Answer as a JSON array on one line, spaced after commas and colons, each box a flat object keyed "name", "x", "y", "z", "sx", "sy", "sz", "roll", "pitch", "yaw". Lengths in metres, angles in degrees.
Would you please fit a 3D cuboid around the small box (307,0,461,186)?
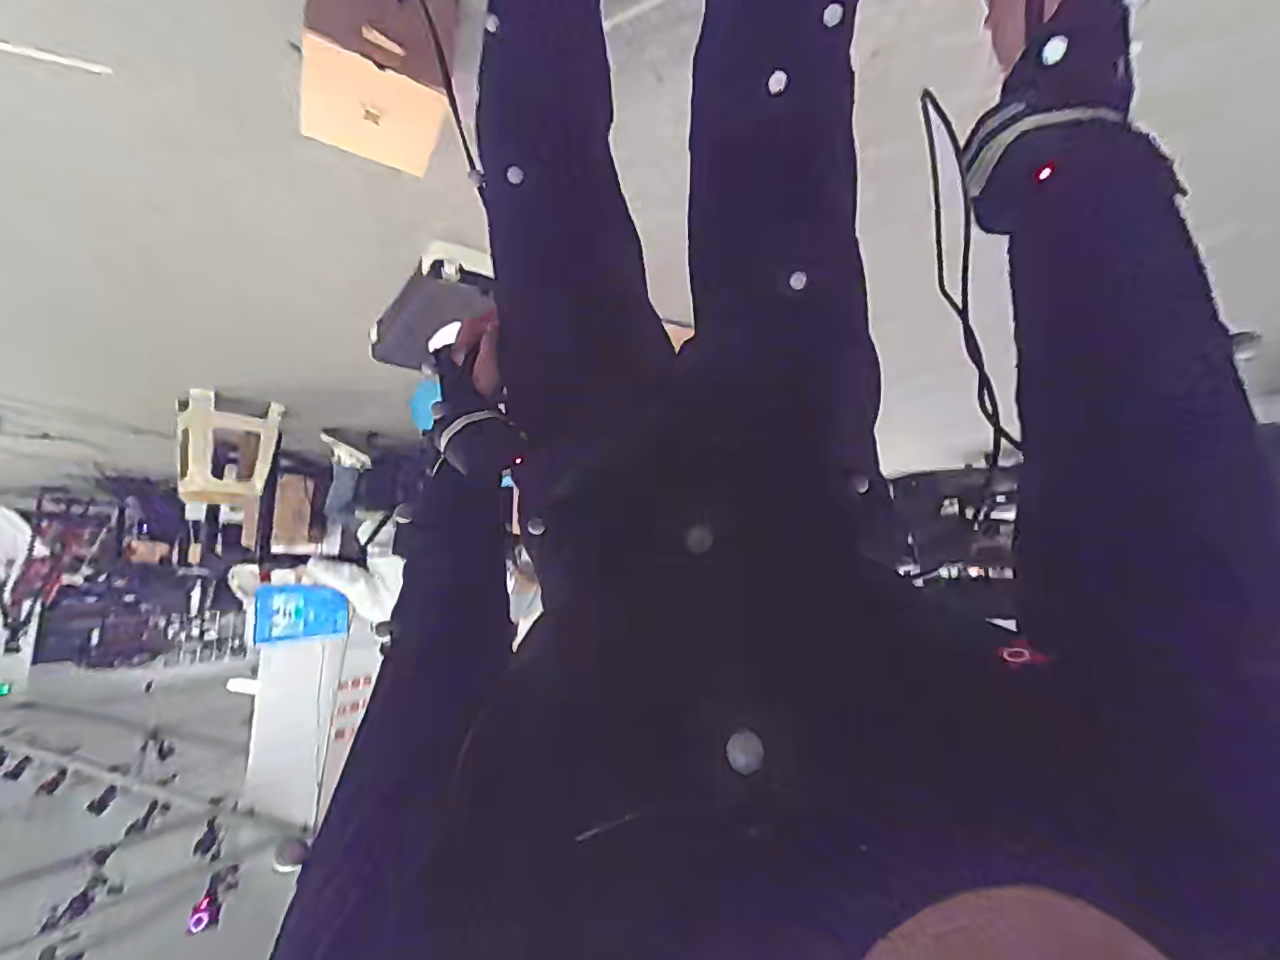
[{"name": "small box", "x": -0.351, "y": -0.559, "z": 0.745, "sx": 0.168, "sy": 0.176, "sz": 0.179, "roll": 7, "pitch": 167, "yaw": -32}]
